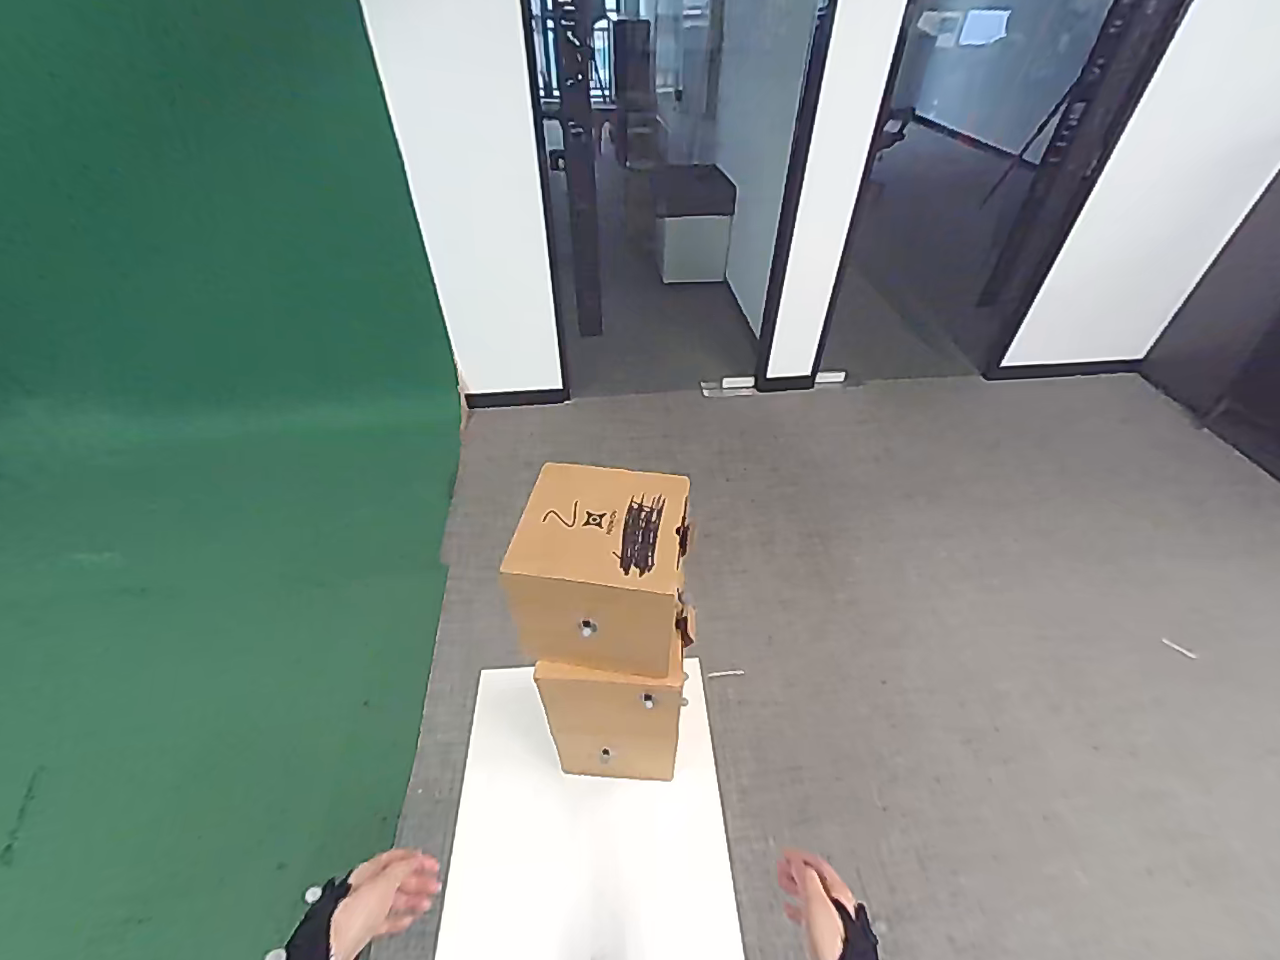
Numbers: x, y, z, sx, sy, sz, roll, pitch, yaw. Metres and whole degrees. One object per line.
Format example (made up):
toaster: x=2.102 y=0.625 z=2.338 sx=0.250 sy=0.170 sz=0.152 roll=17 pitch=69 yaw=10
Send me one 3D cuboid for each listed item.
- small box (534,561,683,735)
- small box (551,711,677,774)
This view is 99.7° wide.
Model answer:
small box: x=-0.034 y=0.230 z=0.734 sx=0.179 sy=0.176 sz=0.168 roll=3 pitch=44 yaw=1
small box: x=-0.030 y=0.345 z=0.849 sx=0.179 sy=0.176 sz=0.168 roll=2 pitch=44 yaw=3
